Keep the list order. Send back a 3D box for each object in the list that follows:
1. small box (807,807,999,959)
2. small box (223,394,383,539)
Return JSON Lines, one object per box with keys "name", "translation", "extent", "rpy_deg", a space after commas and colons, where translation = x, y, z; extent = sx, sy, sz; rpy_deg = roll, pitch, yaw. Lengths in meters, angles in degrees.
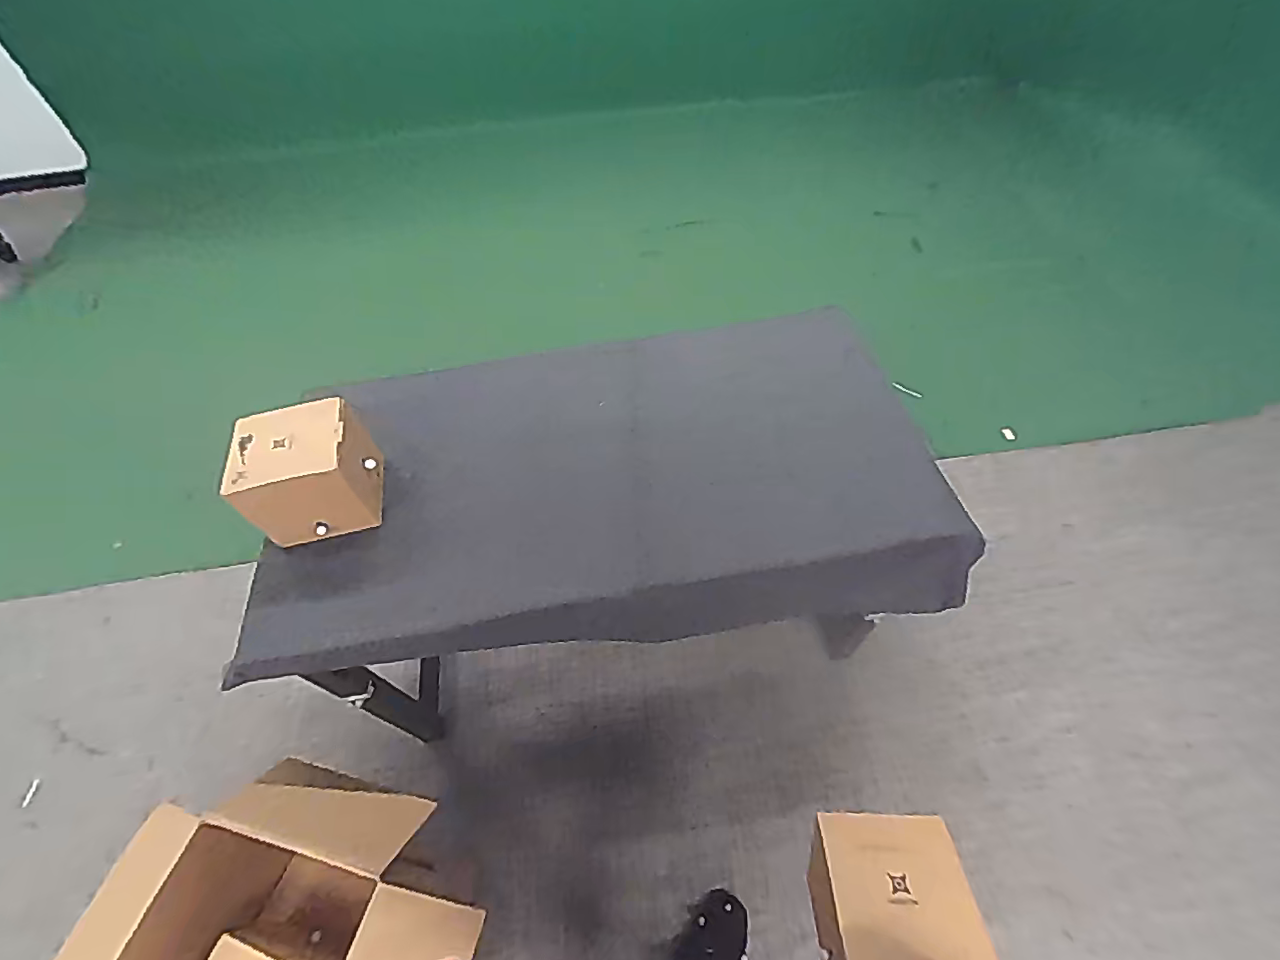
{"name": "small box", "translation": [0.316, 0.553, 0.686], "extent": [0.168, 0.176, 0.179], "rpy_deg": [-1, 28, 5]}
{"name": "small box", "translation": [-0.565, -0.021, 0.938], "extent": [0.179, 0.176, 0.168], "rpy_deg": [-13, 54, -7]}
